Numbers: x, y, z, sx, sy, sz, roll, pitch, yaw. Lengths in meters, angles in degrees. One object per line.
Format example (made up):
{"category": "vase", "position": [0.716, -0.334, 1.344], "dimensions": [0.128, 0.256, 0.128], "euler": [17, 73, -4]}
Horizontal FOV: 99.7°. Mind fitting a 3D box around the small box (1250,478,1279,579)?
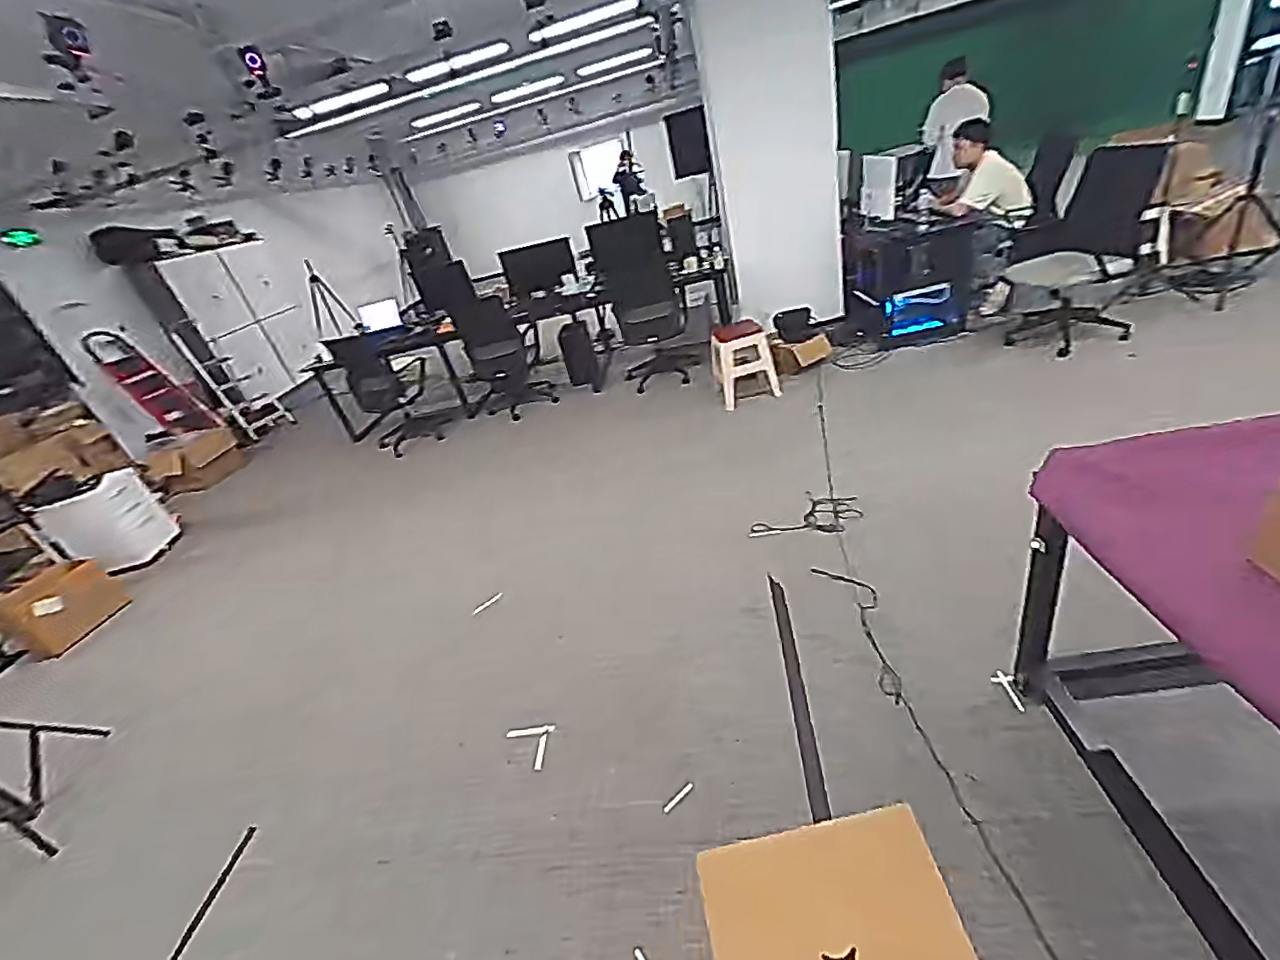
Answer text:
{"category": "small box", "position": [1.107, 0.097, 0.814], "dimensions": [0.168, 0.176, 0.179], "euler": [-9, 31, 10]}
